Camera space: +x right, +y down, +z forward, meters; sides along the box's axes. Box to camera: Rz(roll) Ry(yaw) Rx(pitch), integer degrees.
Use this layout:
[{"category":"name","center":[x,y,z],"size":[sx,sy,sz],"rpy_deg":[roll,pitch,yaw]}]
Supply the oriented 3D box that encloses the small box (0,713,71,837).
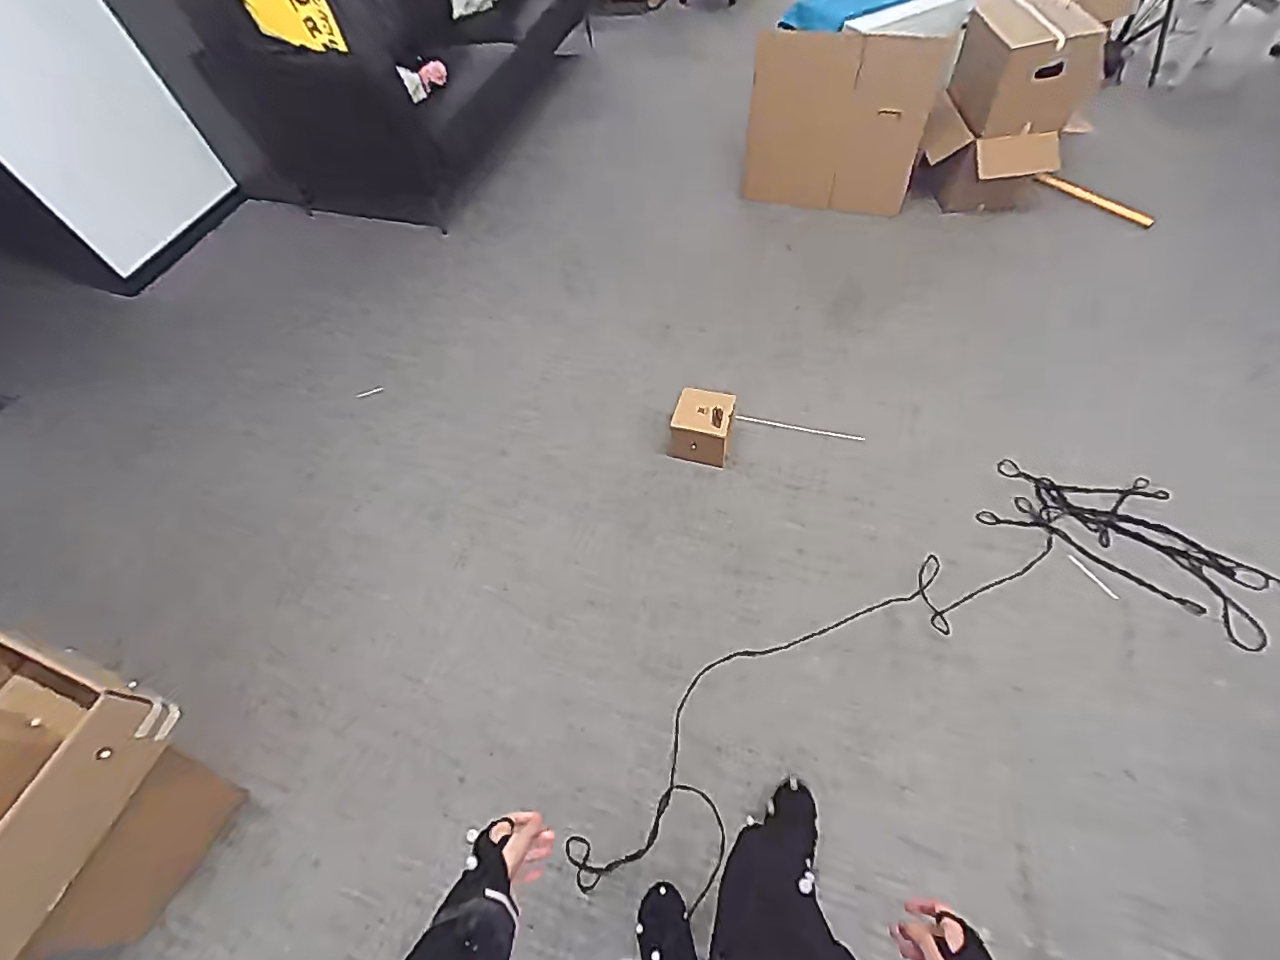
[{"category":"small box","center":[-1.179,0.508,0.936],"size":[0.179,0.176,0.168],"rpy_deg":[16,62,16]}]

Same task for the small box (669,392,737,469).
[{"category":"small box","center":[0.203,-0.154,1.730],"size":[0.179,0.176,0.168],"rpy_deg":[12,59,15]}]
